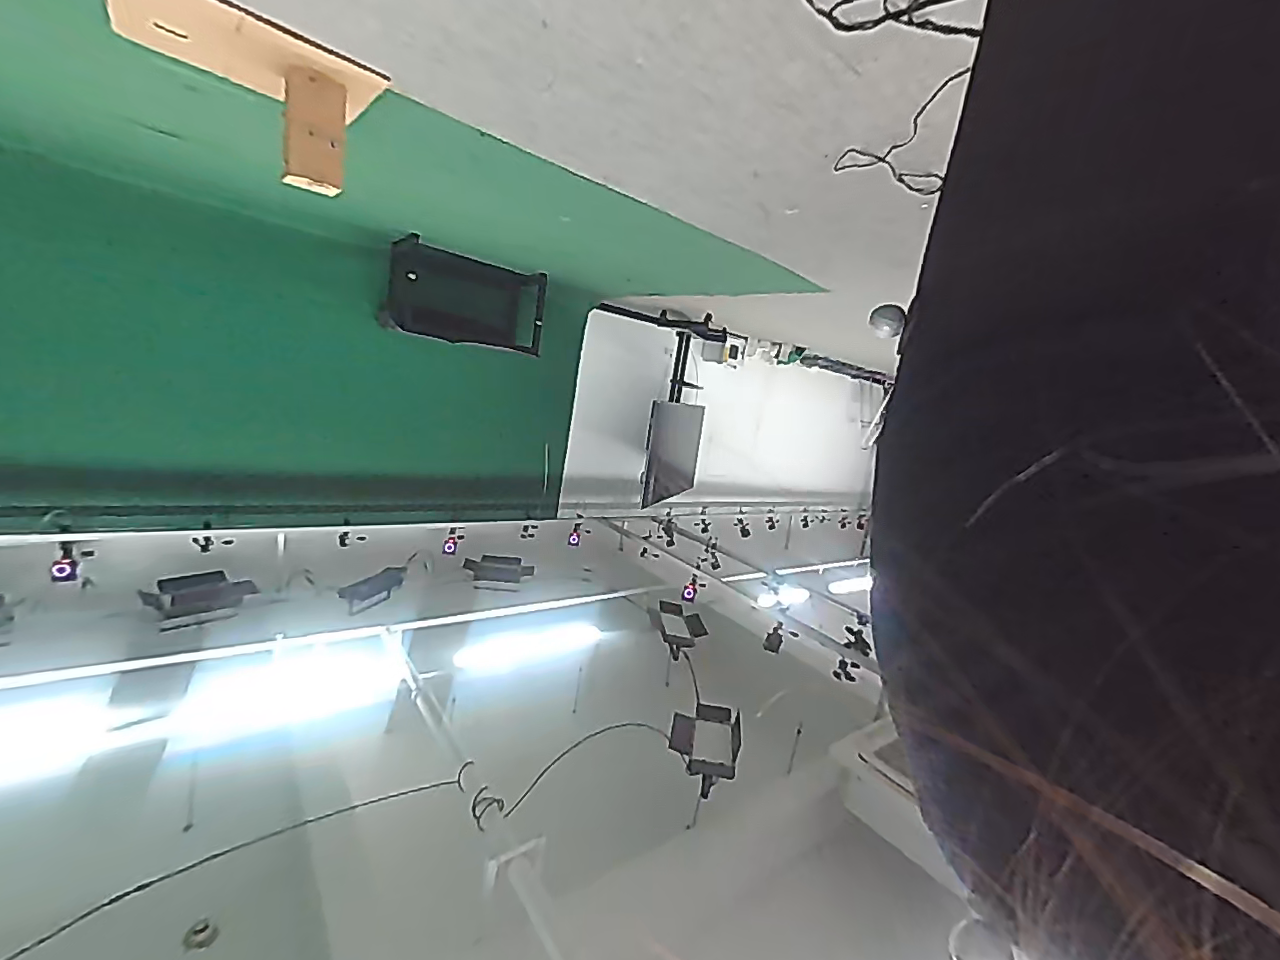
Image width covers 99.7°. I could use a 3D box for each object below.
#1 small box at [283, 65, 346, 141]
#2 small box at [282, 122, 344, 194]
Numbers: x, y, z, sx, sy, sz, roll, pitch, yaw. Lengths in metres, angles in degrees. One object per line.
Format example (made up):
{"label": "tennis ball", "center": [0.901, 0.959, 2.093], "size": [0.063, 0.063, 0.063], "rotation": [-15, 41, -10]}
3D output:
{"label": "small box", "center": [-1.148, -1.313, 1.907], "size": [0.168, 0.176, 0.179], "rotation": [-1, -166, -40]}
{"label": "small box", "center": [-1.174, -1.153, 1.939], "size": [0.168, 0.176, 0.179], "rotation": [0, -165, -42]}
